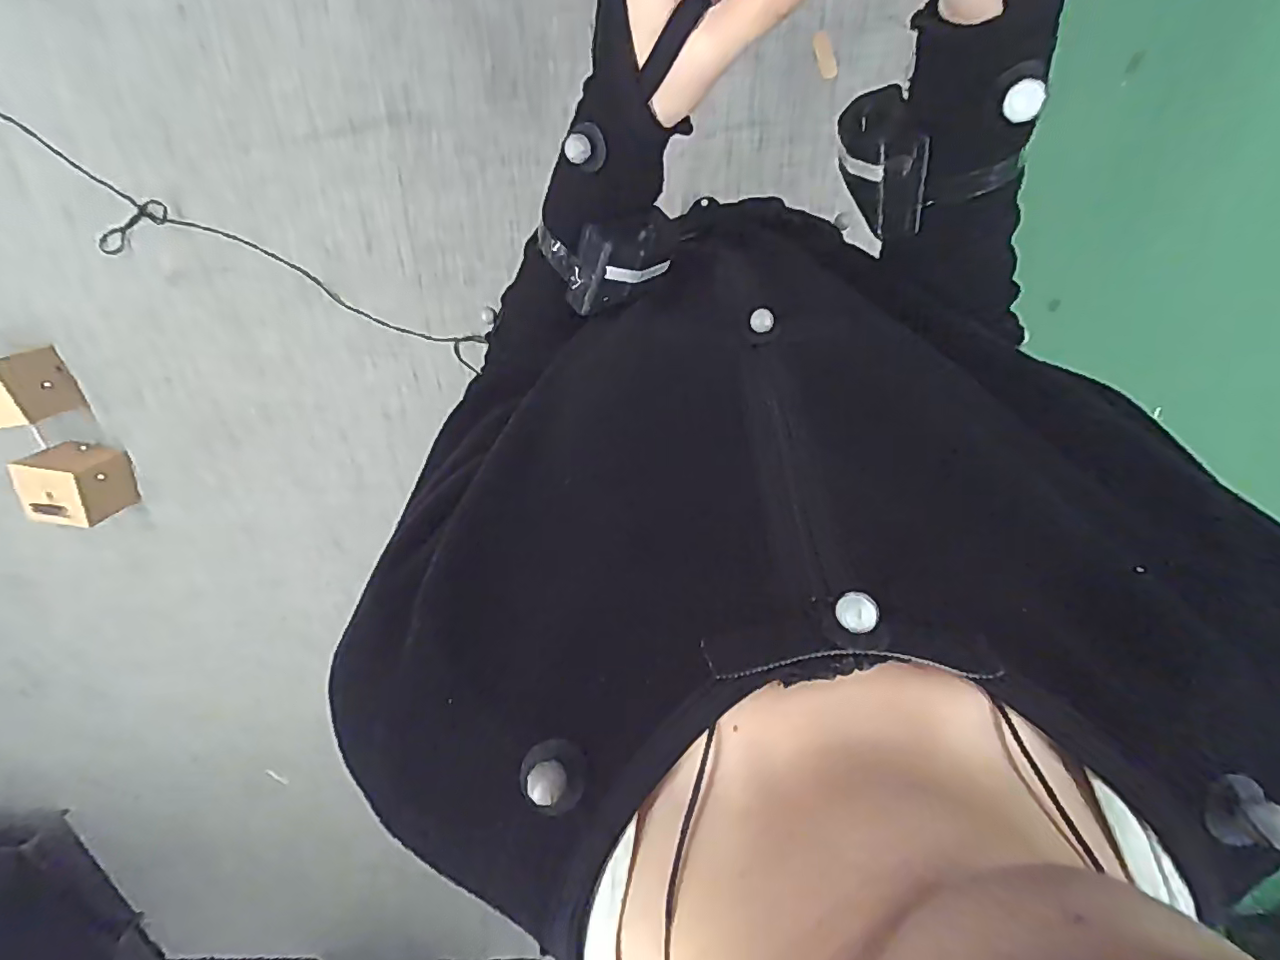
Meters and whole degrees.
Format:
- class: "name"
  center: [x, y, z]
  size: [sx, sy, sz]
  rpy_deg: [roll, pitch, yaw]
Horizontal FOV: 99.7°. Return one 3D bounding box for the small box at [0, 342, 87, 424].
- class: "small box"
  center: [-1.615, -0.253, 1.406]
  size: [0.179, 0.176, 0.168]
  rpy_deg: [-6, 116, 4]
